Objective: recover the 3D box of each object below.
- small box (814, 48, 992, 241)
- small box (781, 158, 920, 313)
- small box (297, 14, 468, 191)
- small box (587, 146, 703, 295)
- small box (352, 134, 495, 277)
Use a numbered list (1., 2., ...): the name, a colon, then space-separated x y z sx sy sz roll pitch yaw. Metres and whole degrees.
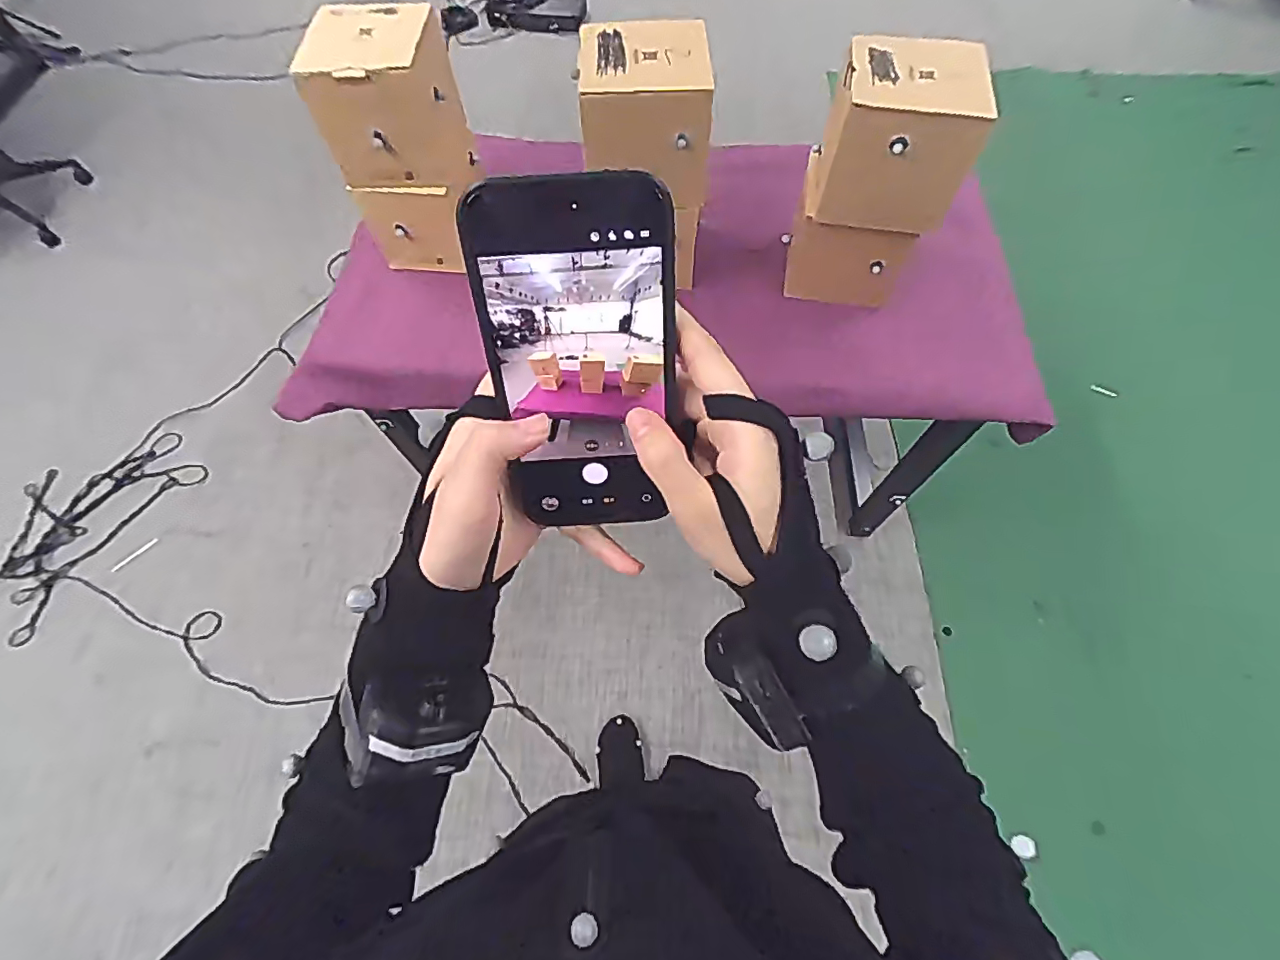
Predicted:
1. small box: 0.353 -0.465 0.761 0.179 0.176 0.168 10 64 5
2. small box: 0.350 -0.406 0.915 0.179 0.176 0.168 10 64 7
3. small box: -0.378 -0.571 0.831 0.168 0.176 0.179 0 64 1
4. small box: 0.013 -0.444 0.941 0.179 0.176 0.168 4 64 4
5. small box: -0.374 -0.490 0.975 0.168 0.176 0.179 5 64 4
